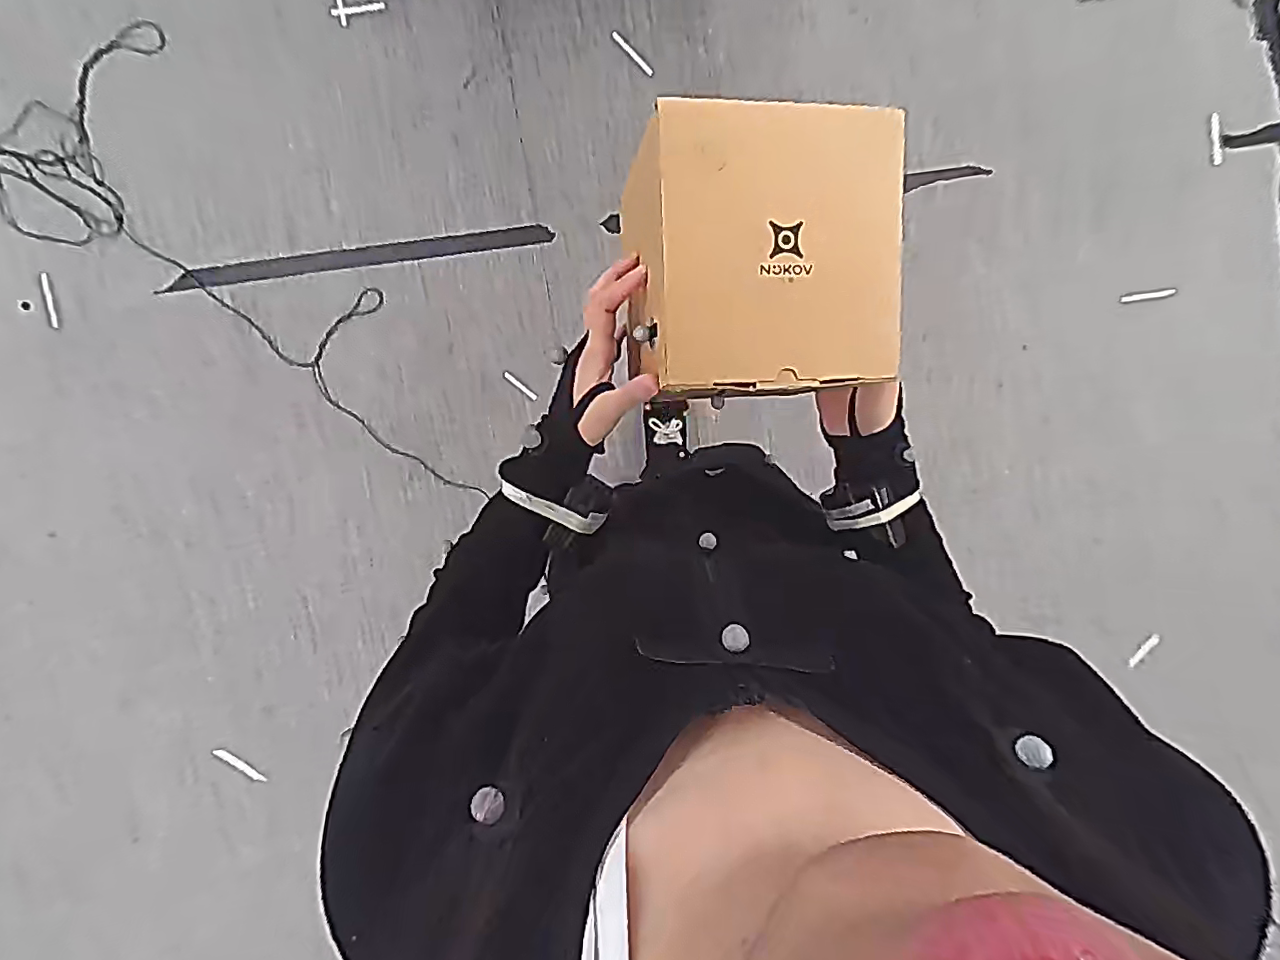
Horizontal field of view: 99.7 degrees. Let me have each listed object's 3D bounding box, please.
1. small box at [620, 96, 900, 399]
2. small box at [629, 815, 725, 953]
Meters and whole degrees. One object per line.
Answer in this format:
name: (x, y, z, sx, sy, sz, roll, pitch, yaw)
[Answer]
small box: (0.079, -0.163, 0.430, 0.168, 0.176, 0.179, -6, 96, -8)
small box: (0.075, 0.870, 1.184, 0.179, 0.176, 0.168, -10, 94, -1)
